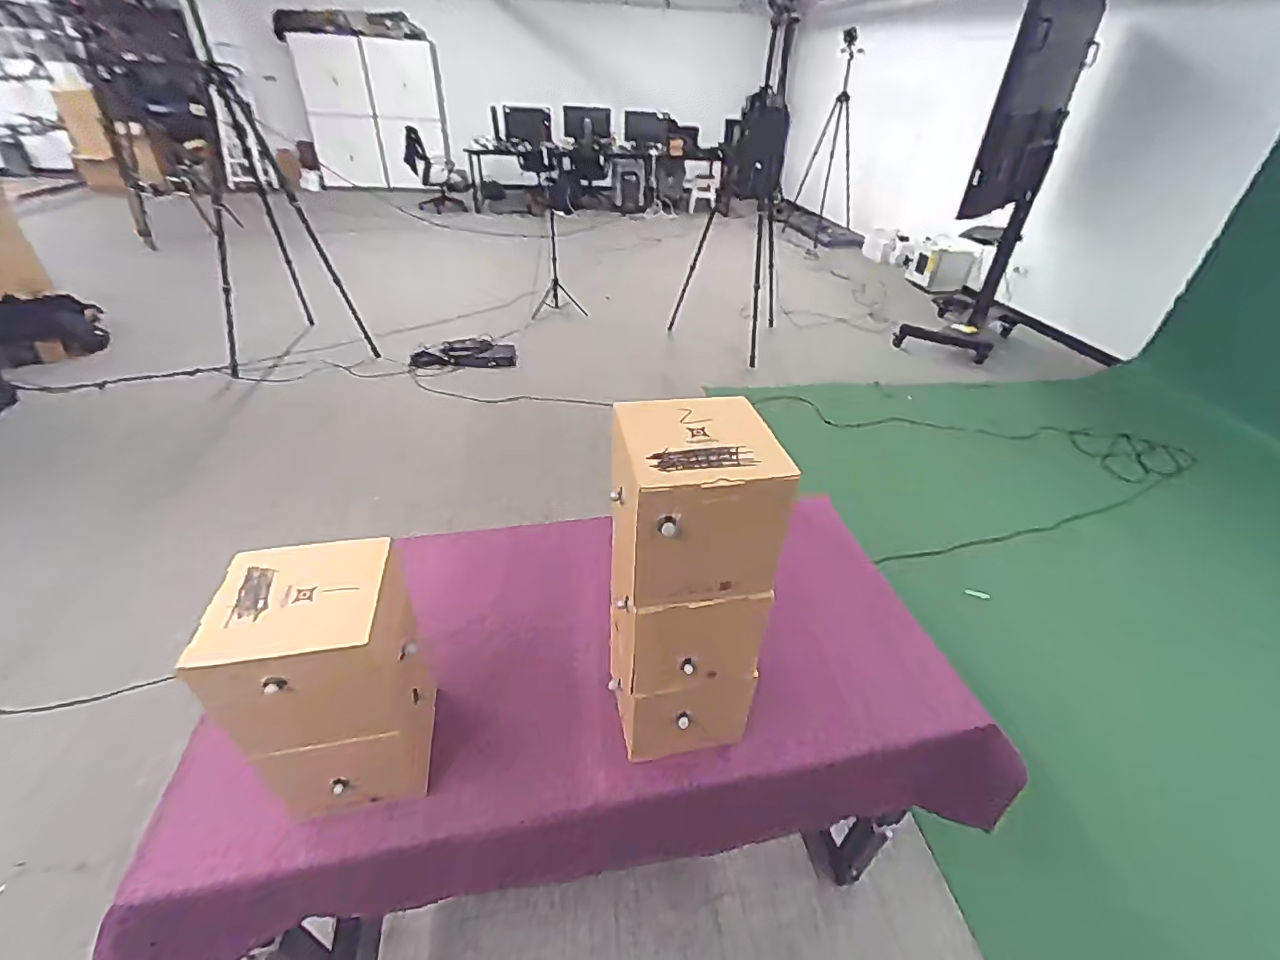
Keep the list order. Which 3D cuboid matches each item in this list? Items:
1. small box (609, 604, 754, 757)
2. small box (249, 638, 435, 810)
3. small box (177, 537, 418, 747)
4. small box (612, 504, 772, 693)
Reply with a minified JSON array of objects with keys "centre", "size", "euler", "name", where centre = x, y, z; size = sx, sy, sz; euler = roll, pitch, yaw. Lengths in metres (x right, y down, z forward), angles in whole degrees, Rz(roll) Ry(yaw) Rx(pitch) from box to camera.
[{"centre":[0.053,0.290,0.817],"size":[0.179,0.176,0.168],"euler":[-6,37,-11],"name":"small box"},{"centre":[-0.387,0.324,0.743],"size":[0.168,0.176,0.179],"euler":[-5,36,-11],"name":"small box"},{"centre":[-0.381,0.192,0.645],"size":[0.179,0.176,0.168],"euler":[-5,37,-11],"name":"small box"},{"centre":[0.054,0.154,0.726],"size":[0.168,0.176,0.179],"euler":[-5,37,-10],"name":"small box"}]
